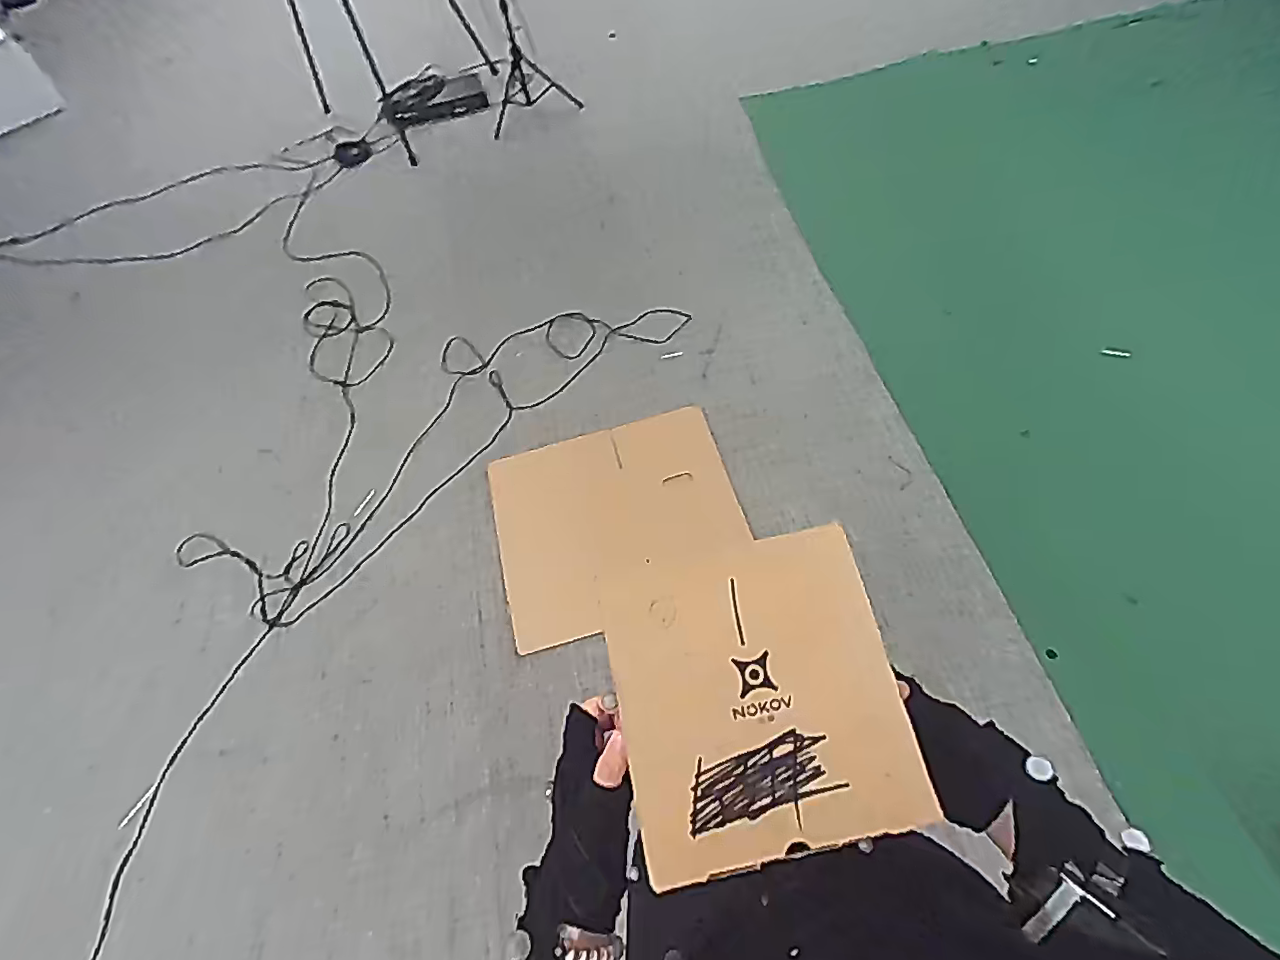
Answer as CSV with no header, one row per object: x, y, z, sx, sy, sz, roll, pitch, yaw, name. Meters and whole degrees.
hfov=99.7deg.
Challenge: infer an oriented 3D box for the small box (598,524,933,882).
0.070,0.148,0.399,0.168,0.176,0.179,-12,71,-4,small box
